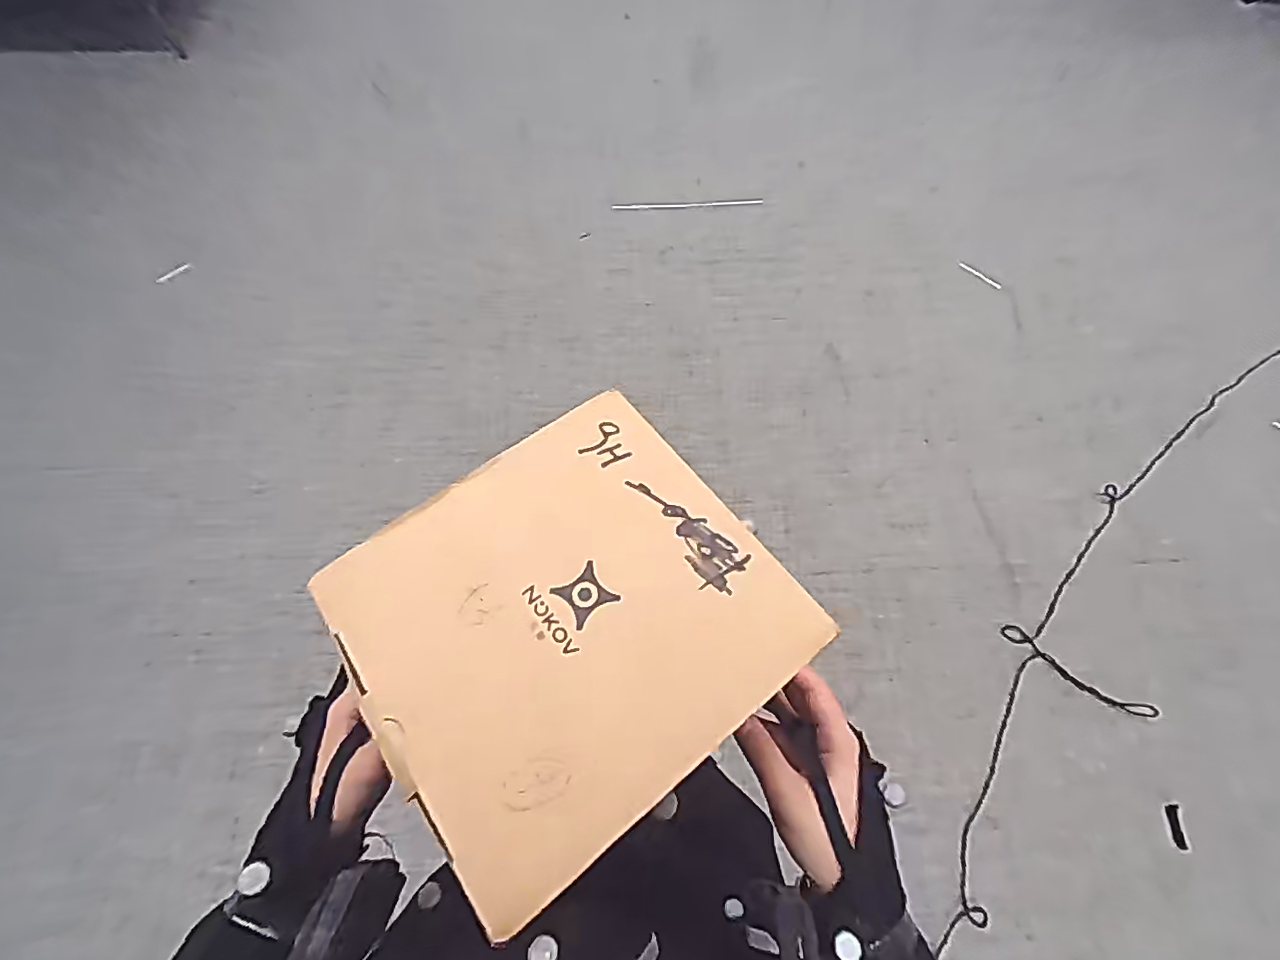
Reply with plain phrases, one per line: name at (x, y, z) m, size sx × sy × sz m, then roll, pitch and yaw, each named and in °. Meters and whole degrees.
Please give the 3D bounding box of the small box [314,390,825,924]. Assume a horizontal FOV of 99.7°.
small box at (-0.032, 0.090, 0.310) m, size 0.179 × 0.176 × 0.168 m, roll -35°, pitch 68°, yaw -16°
